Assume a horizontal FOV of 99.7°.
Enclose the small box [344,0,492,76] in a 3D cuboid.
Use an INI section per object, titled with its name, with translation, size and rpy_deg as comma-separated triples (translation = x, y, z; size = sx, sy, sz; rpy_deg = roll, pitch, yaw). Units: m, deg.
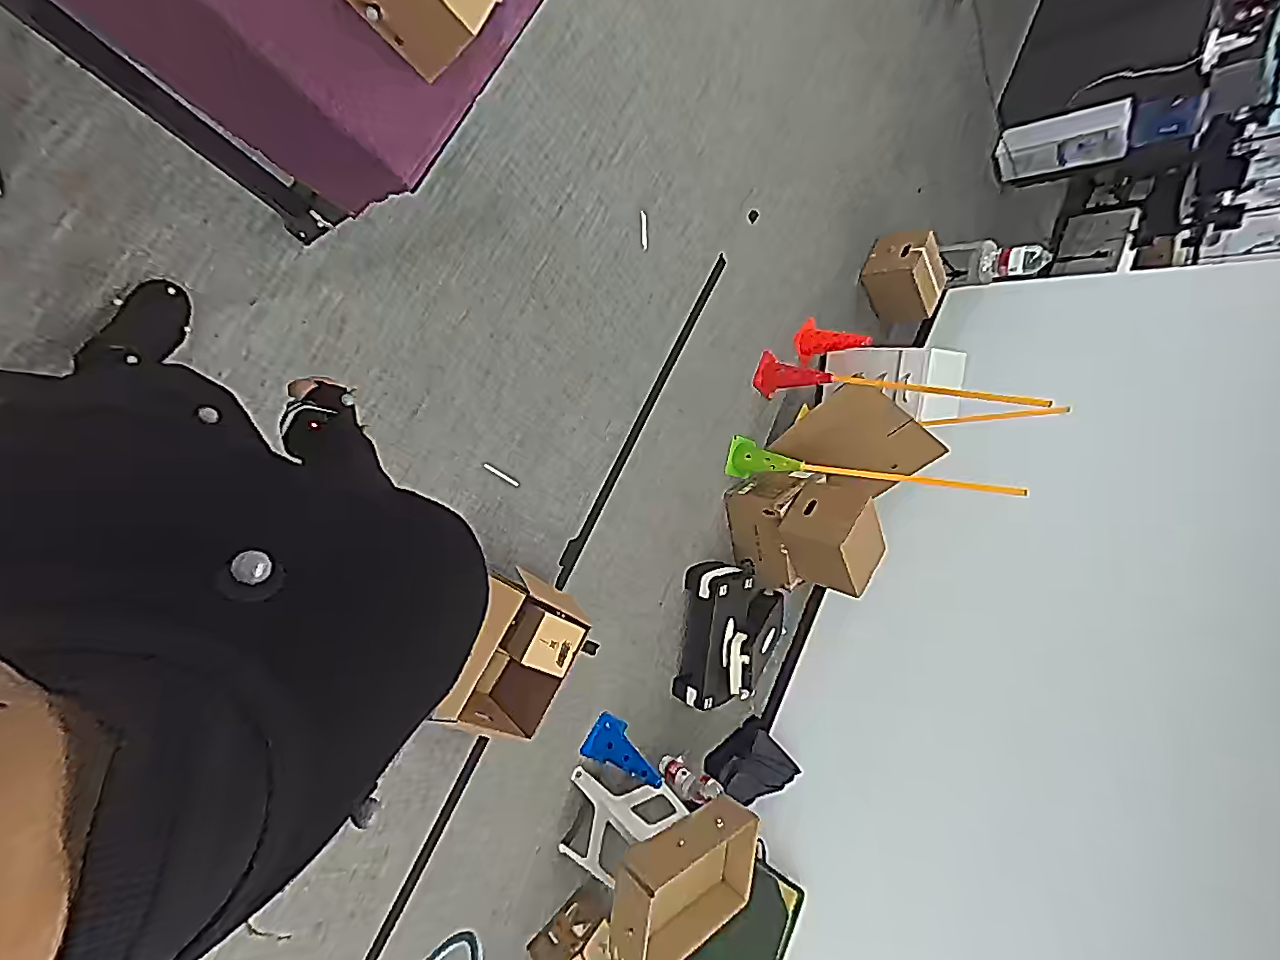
[small box]
translation = -0.292, -0.706, 0.728
size = 0.168, 0.176, 0.179
rpy_deg = 32, 77, -41
